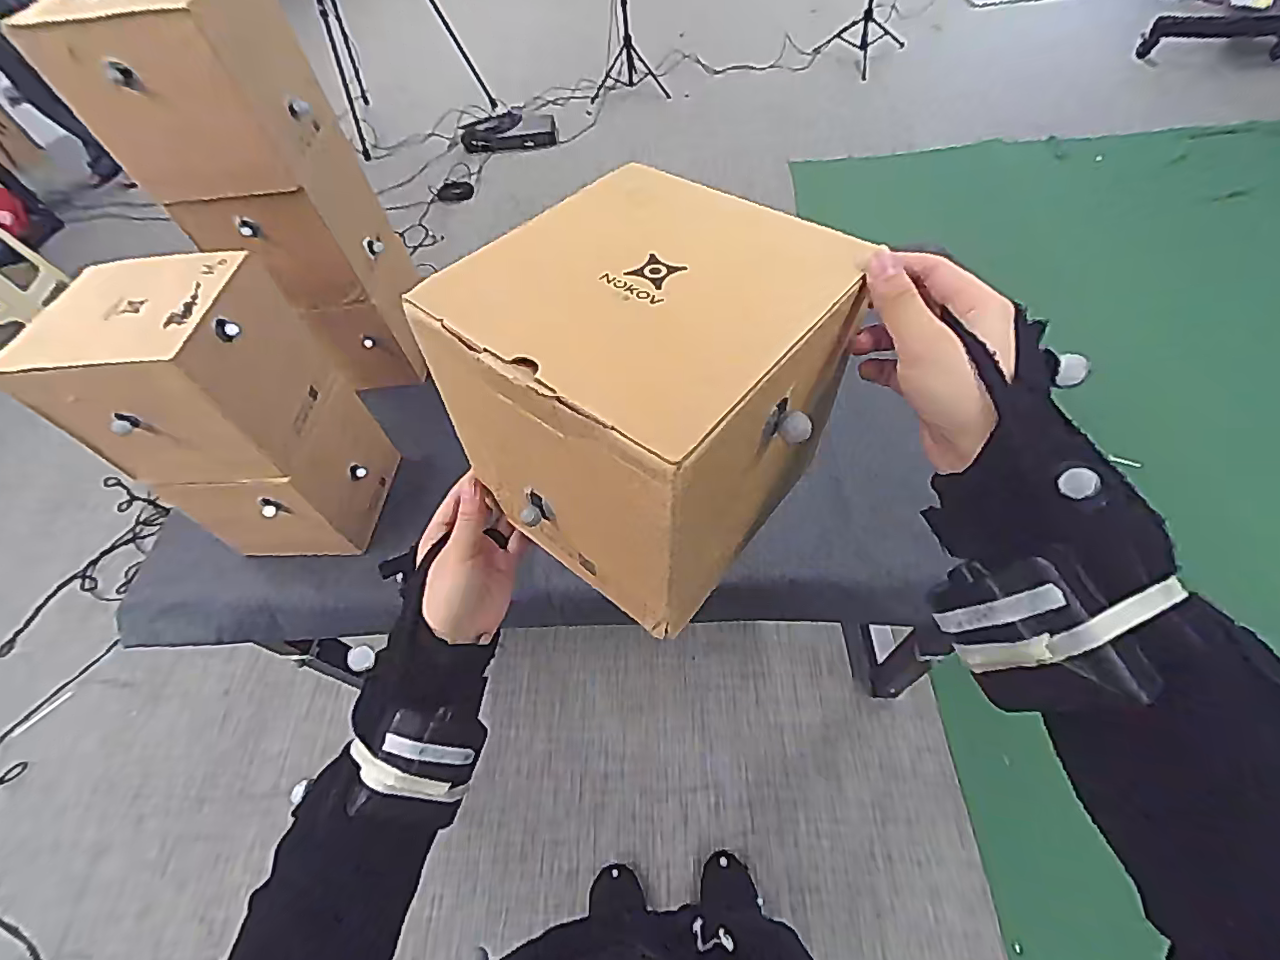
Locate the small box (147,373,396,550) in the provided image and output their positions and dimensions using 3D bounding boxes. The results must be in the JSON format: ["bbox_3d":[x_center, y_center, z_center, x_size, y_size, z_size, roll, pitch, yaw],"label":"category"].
[{"bbox_3d":[-0.448,-0.019,0.697,0.179,0.176,0.168,-1,54,5],"label":"small box"}]

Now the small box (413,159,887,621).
[{"bbox_3d":[0.009,-0.052,0.324,0.168,0.176,0.179,33,61,23],"label":"small box"}]

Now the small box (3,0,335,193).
[{"bbox_3d":[-0.476,-0.435,0.584,0.179,0.176,0.168,-4,59,3],"label":"small box"}]

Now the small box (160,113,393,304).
[{"bbox_3d":[-0.466,-0.355,0.727,0.179,0.176,0.168,-5,59,1],"label":"small box"}]

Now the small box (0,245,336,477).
[{"bbox_3d":[-0.466,-0.116,0.566,0.179,0.176,0.168,-4,55,4],"label":"small box"}]
